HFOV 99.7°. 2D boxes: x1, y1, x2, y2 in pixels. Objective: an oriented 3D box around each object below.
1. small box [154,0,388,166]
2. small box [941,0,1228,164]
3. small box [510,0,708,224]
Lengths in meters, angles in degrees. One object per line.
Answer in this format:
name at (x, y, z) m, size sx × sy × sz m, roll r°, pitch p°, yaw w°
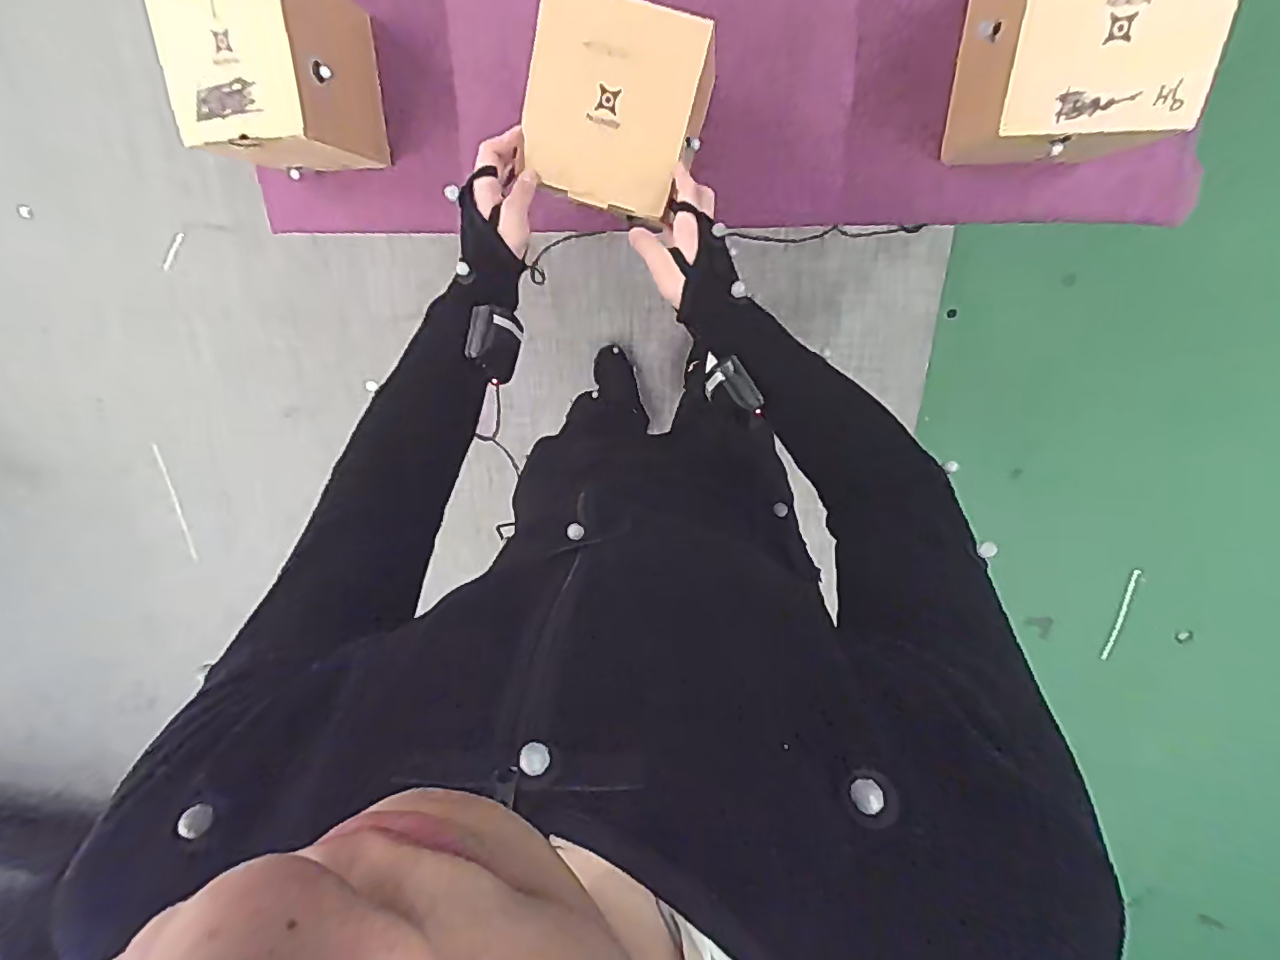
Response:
small box at (-0.446, -0.507, 0.682) m, size 0.168 × 0.176 × 0.179 m, roll 3°, pitch 111°, yaw 10°
small box at (0.425, -0.430, 0.539) m, size 0.168 × 0.176 × 0.179 m, roll 5°, pitch 113°, yaw 11°
small box at (-0.026, -0.406, 0.614) m, size 0.168 × 0.176 × 0.179 m, roll 19°, pitch 115°, yaw 1°
